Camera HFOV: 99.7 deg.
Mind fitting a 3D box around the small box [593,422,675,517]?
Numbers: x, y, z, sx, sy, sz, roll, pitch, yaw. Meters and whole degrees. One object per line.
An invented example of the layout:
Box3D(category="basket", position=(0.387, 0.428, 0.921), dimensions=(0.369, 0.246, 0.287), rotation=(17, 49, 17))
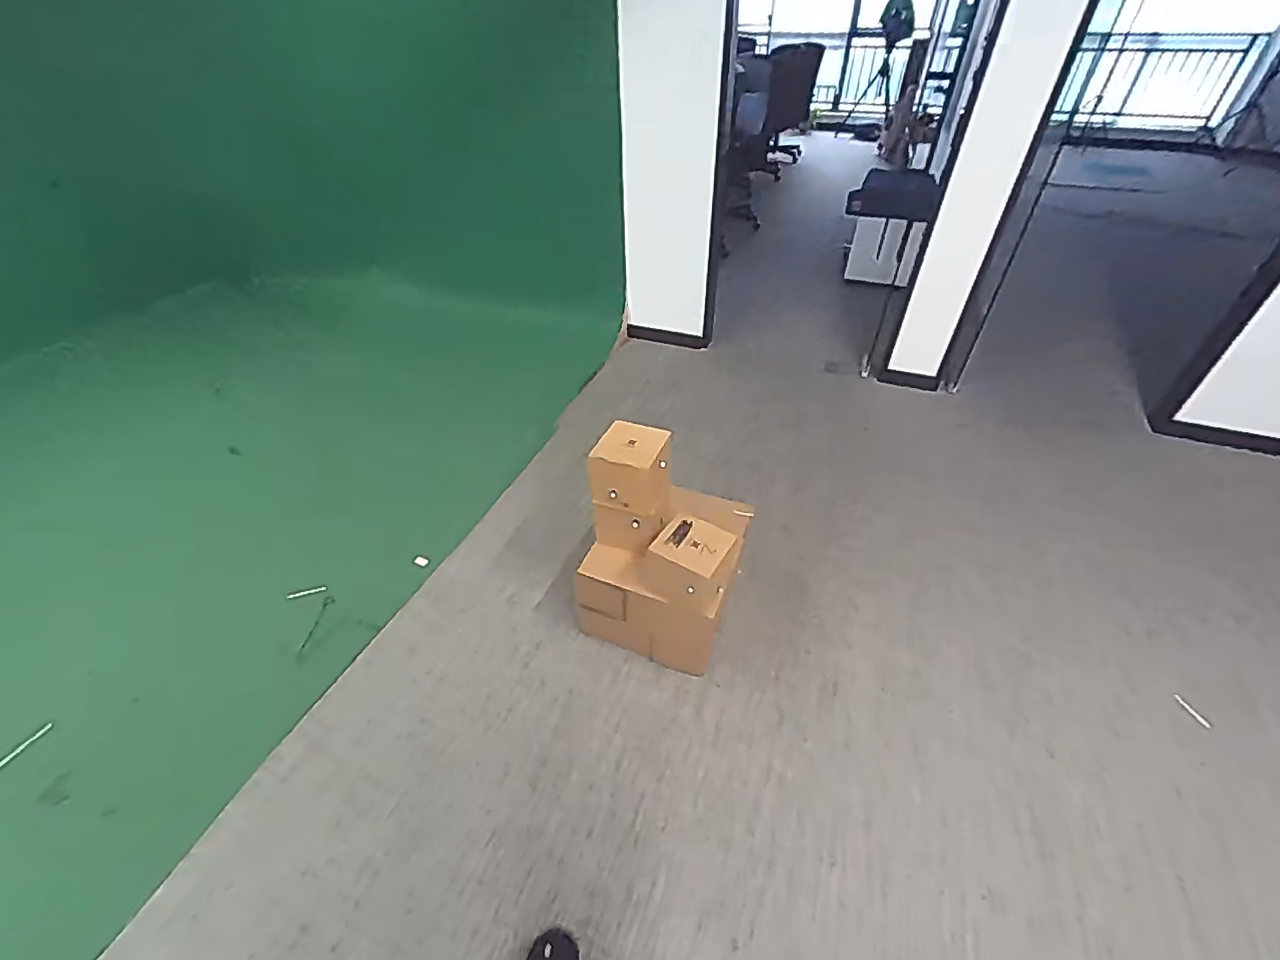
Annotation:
Box3D(category="small box", position=(-0.015, -0.029, 1.467), dimensions=(0.168, 0.176, 0.179), rotation=(15, 43, 18))

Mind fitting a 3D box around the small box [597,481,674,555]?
Box3D(category="small box", position=(-0.011, 0.095, 1.572), dimensions=(0.179, 0.176, 0.168), rotation=(14, 42, 17))
